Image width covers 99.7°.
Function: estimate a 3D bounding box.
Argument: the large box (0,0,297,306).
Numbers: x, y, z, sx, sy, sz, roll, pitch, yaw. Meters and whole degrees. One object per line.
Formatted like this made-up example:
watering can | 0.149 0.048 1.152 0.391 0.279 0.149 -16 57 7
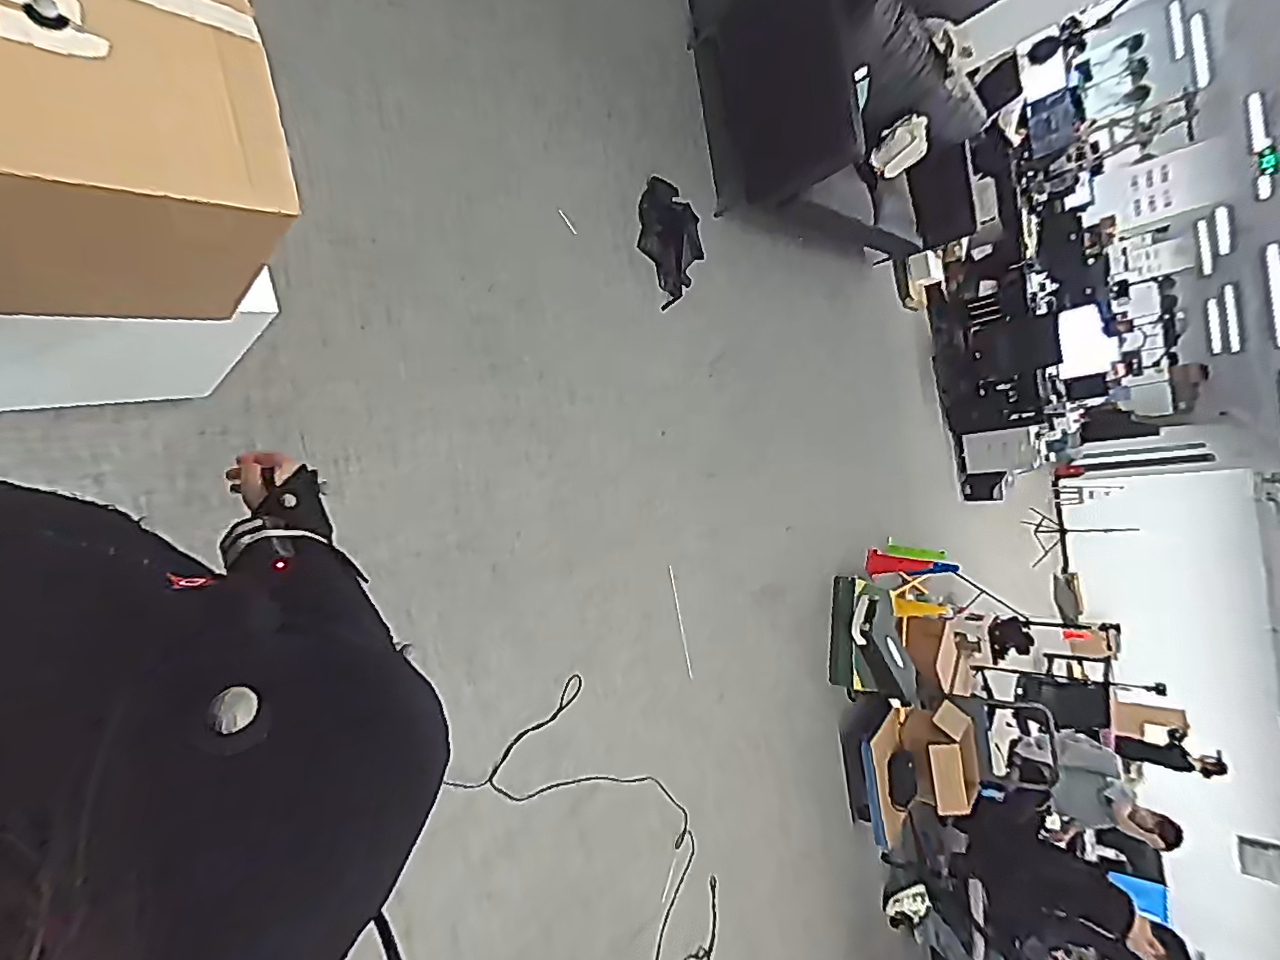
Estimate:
large box | -0.578 -0.342 0.431 0.408 0.320 0.320 -17 97 -48
